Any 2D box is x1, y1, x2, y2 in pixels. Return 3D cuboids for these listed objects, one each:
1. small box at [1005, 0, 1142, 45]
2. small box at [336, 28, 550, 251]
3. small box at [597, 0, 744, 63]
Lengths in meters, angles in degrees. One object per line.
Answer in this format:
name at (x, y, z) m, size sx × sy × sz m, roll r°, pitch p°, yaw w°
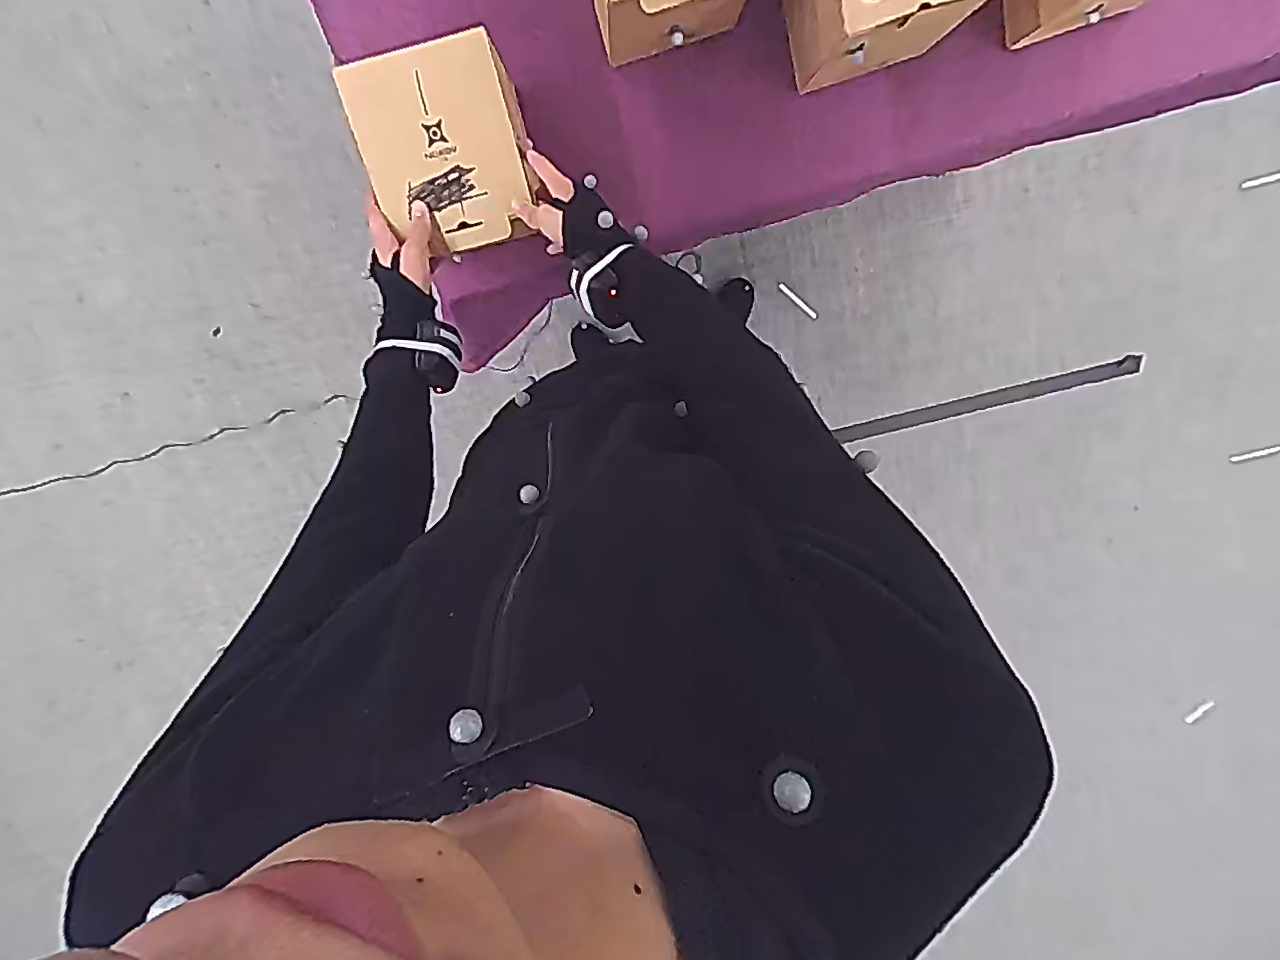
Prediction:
small box at (0.530, -0.635, 0.592) m, size 0.168 × 0.176 × 0.179 m, roll -17°, pitch 108°, yaw 4°
small box at (-0.215, -0.384, 0.650) m, size 0.168 × 0.176 × 0.179 m, roll -14°, pitch 108°, yaw 2°
small box at (0.022, -0.603, 0.584) m, size 0.168 × 0.176 × 0.179 m, roll -15°, pitch 109°, yaw 4°
